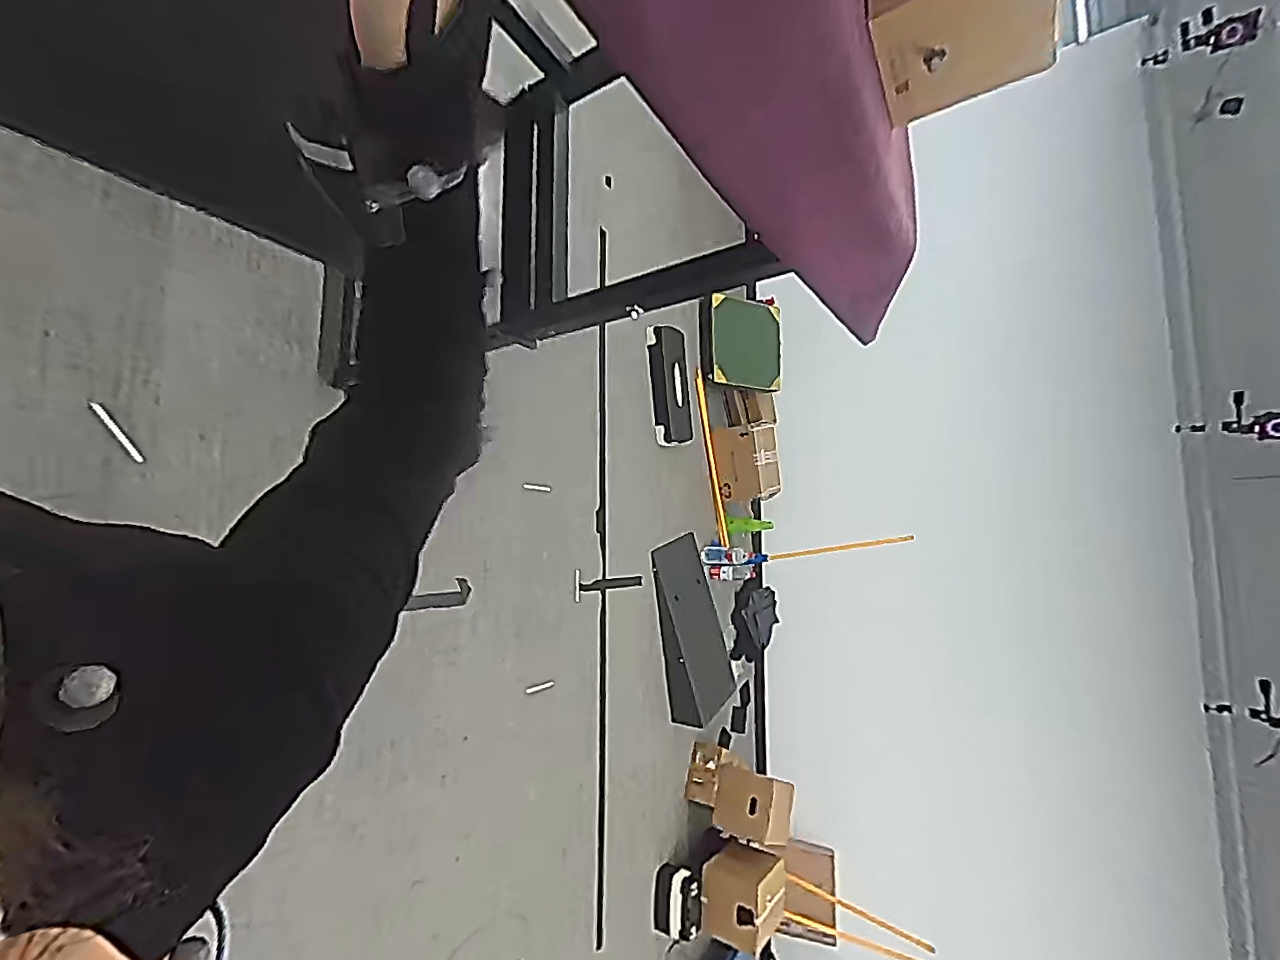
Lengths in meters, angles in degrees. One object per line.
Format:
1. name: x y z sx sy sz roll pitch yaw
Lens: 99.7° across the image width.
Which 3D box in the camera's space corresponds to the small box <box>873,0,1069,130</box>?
1. small box: 0.355 -0.541 0.593 0.168 0.176 0.179 16 73 -55
